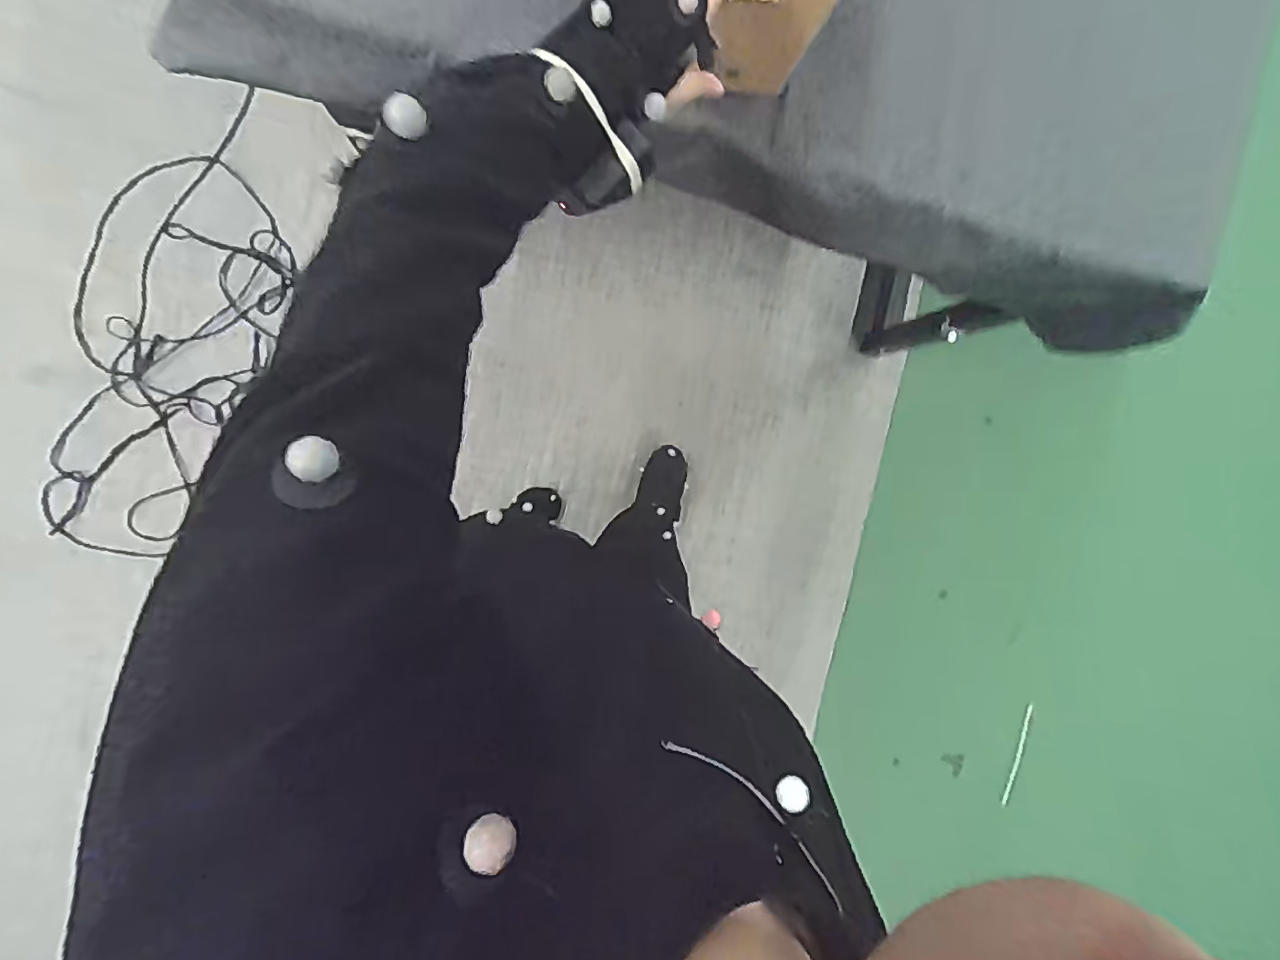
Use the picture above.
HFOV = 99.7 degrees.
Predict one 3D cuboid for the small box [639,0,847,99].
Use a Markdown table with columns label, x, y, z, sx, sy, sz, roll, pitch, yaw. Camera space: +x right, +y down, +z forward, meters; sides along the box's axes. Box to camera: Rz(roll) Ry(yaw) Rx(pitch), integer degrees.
| label | x | y | z | sx | sy | sz | roll | pitch | yaw |
| --- | --- | --- | --- | --- | --- | --- | --- | --- | --- |
| small box | 0.093 | -0.509 | 0.508 | 0.168 | 0.176 | 0.179 | 1 | 94 | -9 |
